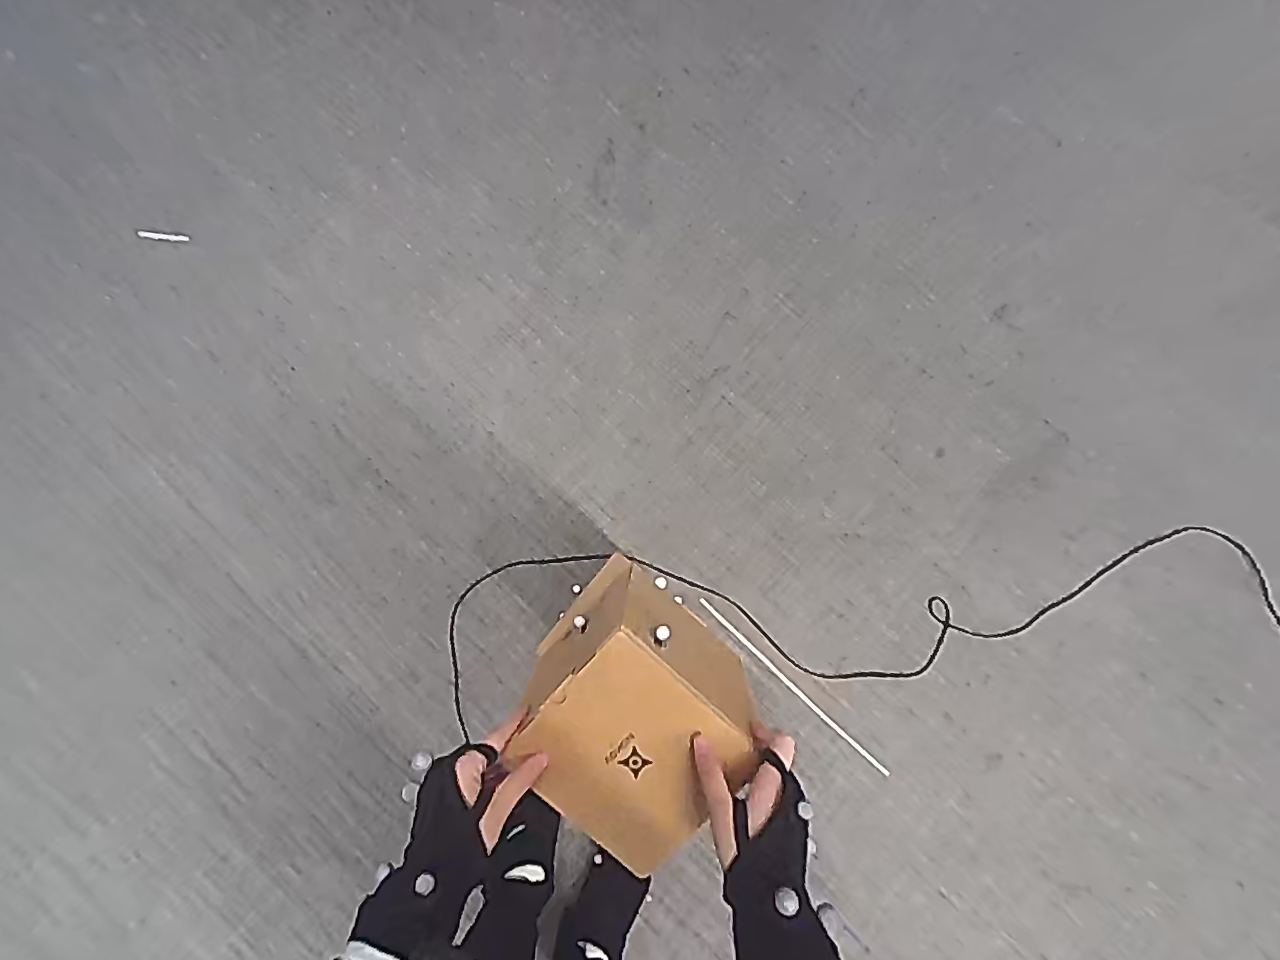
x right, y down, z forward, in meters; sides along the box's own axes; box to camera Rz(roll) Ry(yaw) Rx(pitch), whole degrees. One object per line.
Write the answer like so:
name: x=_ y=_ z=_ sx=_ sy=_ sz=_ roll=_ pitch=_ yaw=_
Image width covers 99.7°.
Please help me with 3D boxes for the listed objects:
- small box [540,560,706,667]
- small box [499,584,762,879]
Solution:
small box: x=-0.025 y=0.242 z=0.818 sx=0.168 sy=0.176 sz=0.179 roll=39 pitch=79 yaw=4
small box: x=-0.004 y=0.234 z=0.550 sx=0.179 sy=0.176 sz=0.168 roll=41 pitch=98 yaw=-1
